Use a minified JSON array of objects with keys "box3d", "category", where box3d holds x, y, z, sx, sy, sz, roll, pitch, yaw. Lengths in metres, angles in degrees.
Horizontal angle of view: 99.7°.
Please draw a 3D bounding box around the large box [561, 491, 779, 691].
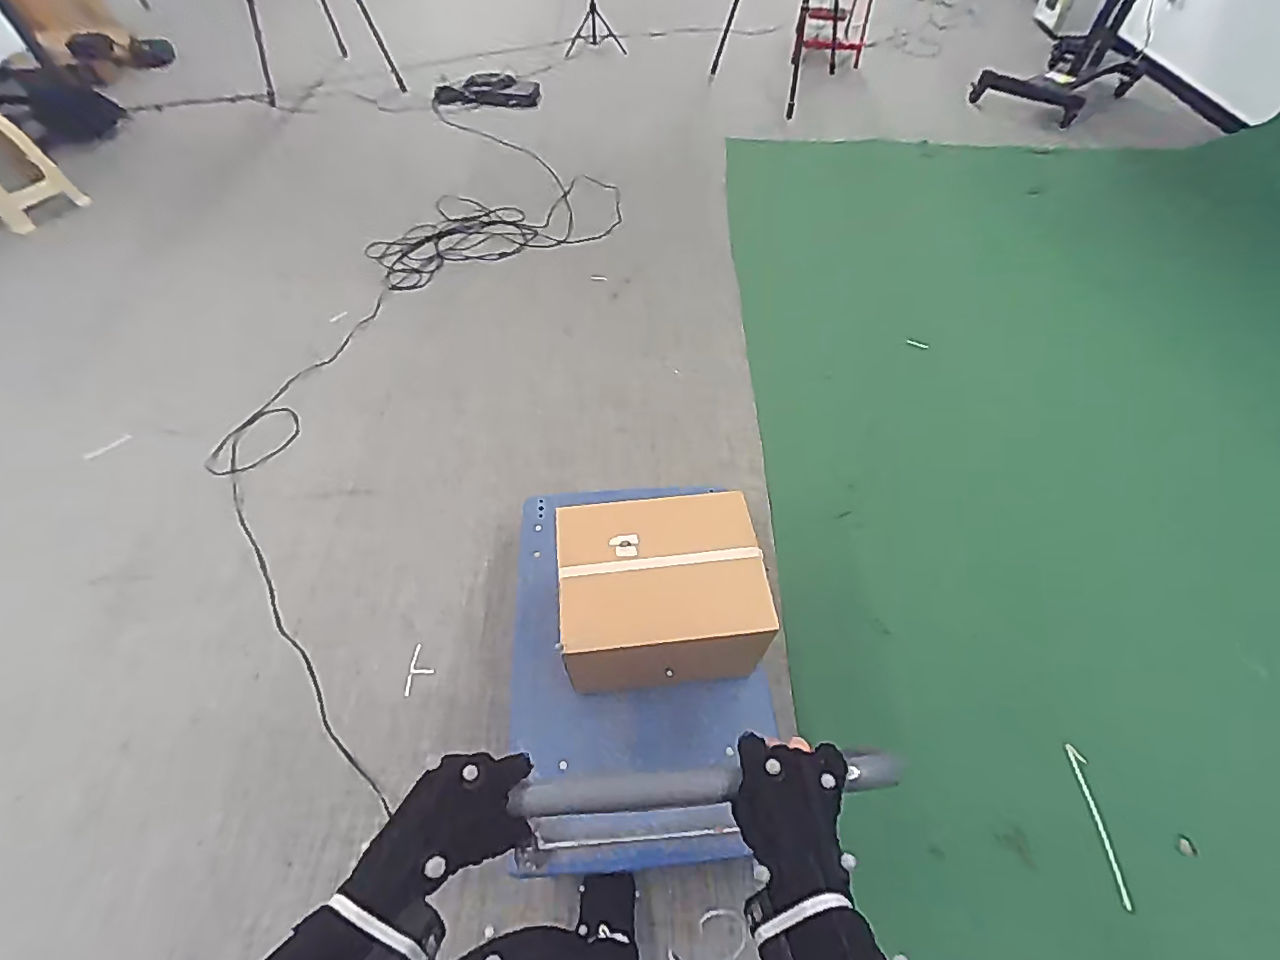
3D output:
[{"box3d":[0.052,0.256,1.208,0.408,0.320,0.320,-7,55,-3],"category":"large box"}]
